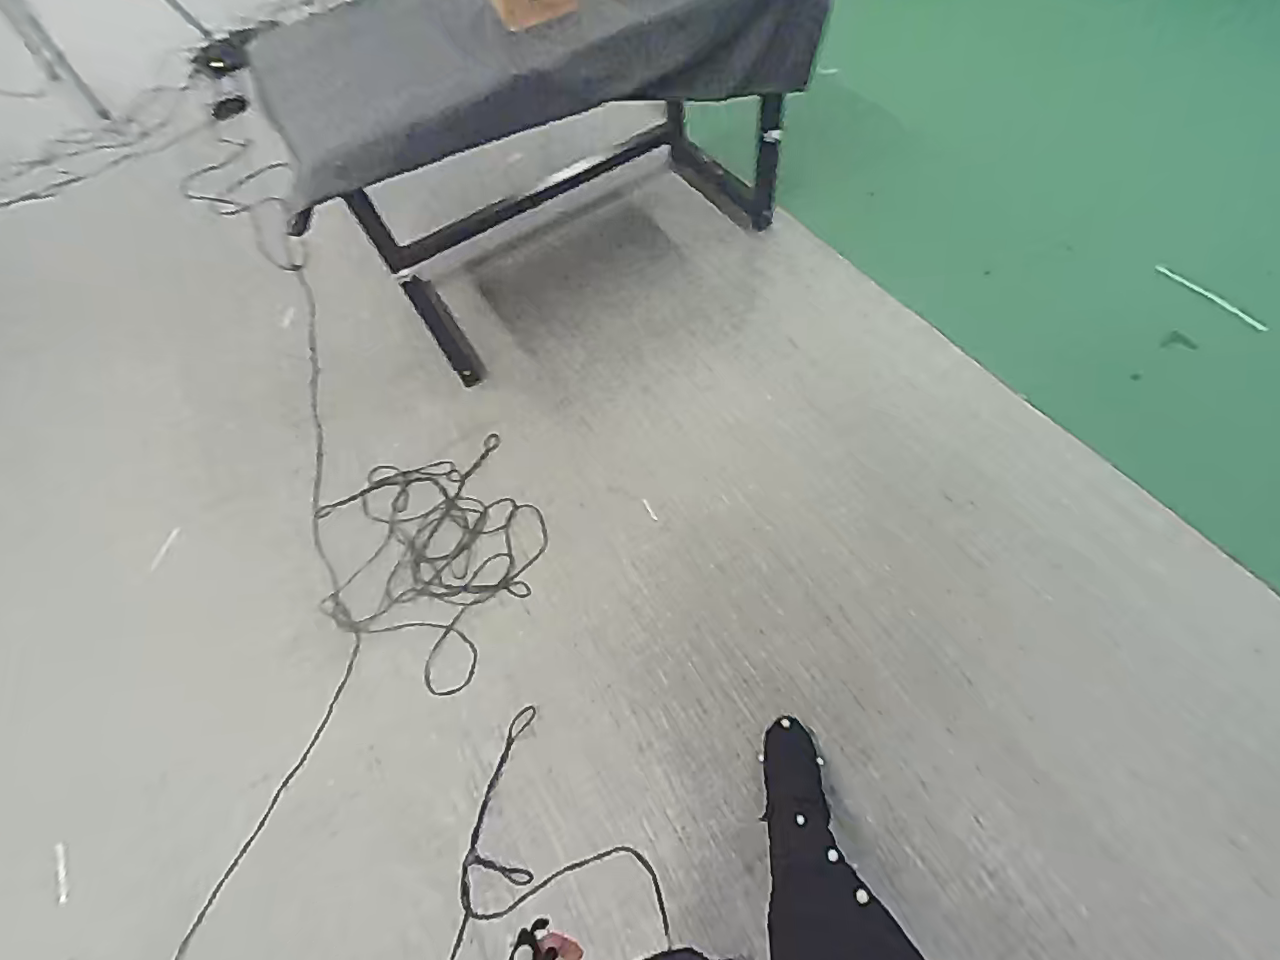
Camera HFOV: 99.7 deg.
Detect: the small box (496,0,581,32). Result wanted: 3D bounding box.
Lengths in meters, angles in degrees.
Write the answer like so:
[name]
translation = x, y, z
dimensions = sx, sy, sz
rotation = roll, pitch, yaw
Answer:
[small box]
translation = -0.241, -1.121, 1.174
dimensions = 0.168, 0.176, 0.179
rotation = -22, 61, -5
